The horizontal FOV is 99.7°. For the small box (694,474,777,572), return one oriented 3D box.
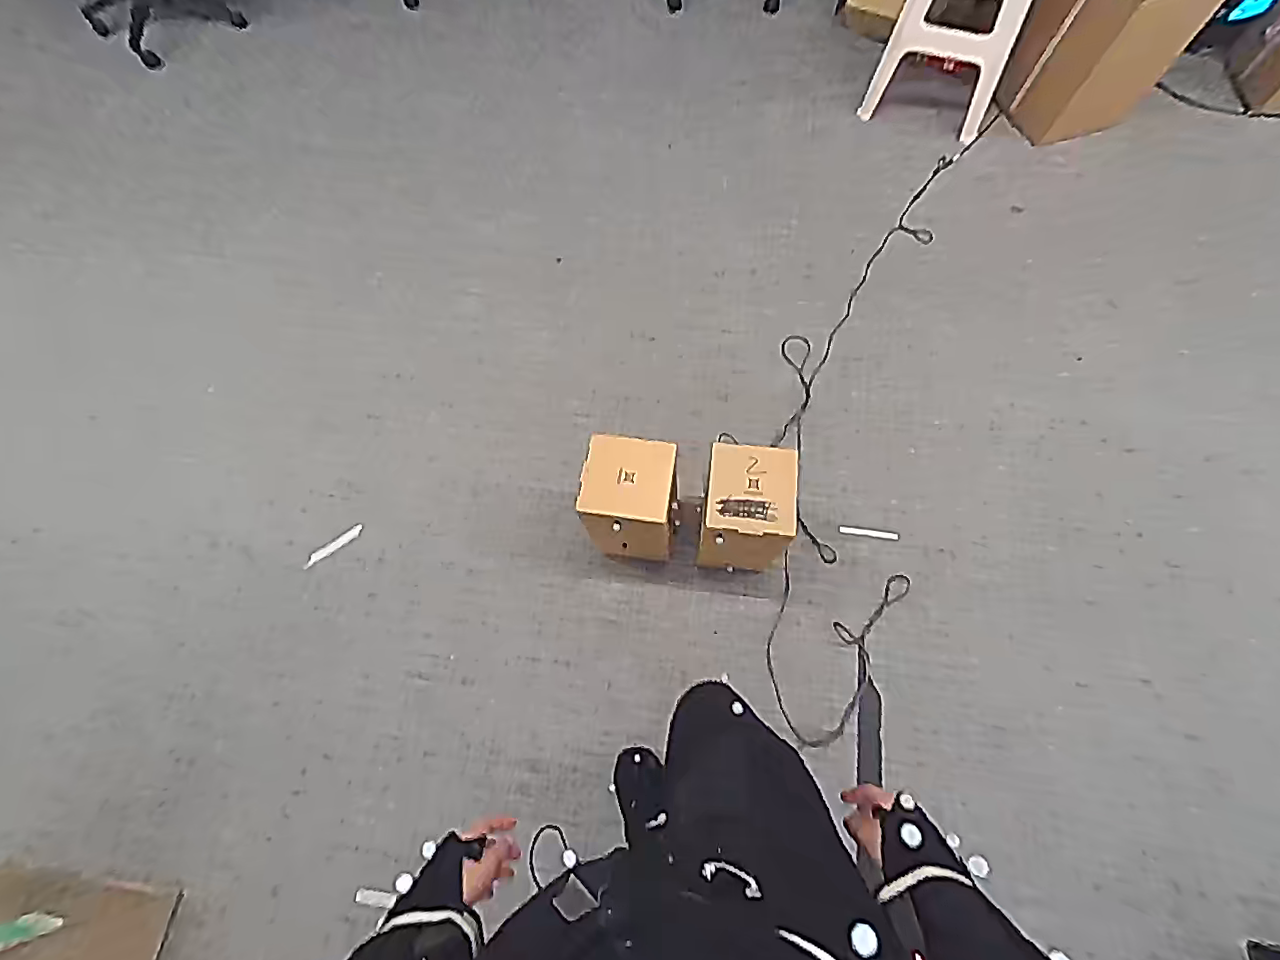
[{"bbox_3d":[0.214,0.102,1.245,0.168,0.176,0.179,5,70,5],"label":"small box"}]

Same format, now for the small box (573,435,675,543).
[{"bbox_3d":[-0.024,0.025,1.115,0.179,0.176,0.168,7,69,7],"label":"small box"}]

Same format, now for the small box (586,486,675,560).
[{"bbox_3d":[-0.015,0.083,1.265,0.179,0.176,0.168,6,70,7],"label":"small box"}]
